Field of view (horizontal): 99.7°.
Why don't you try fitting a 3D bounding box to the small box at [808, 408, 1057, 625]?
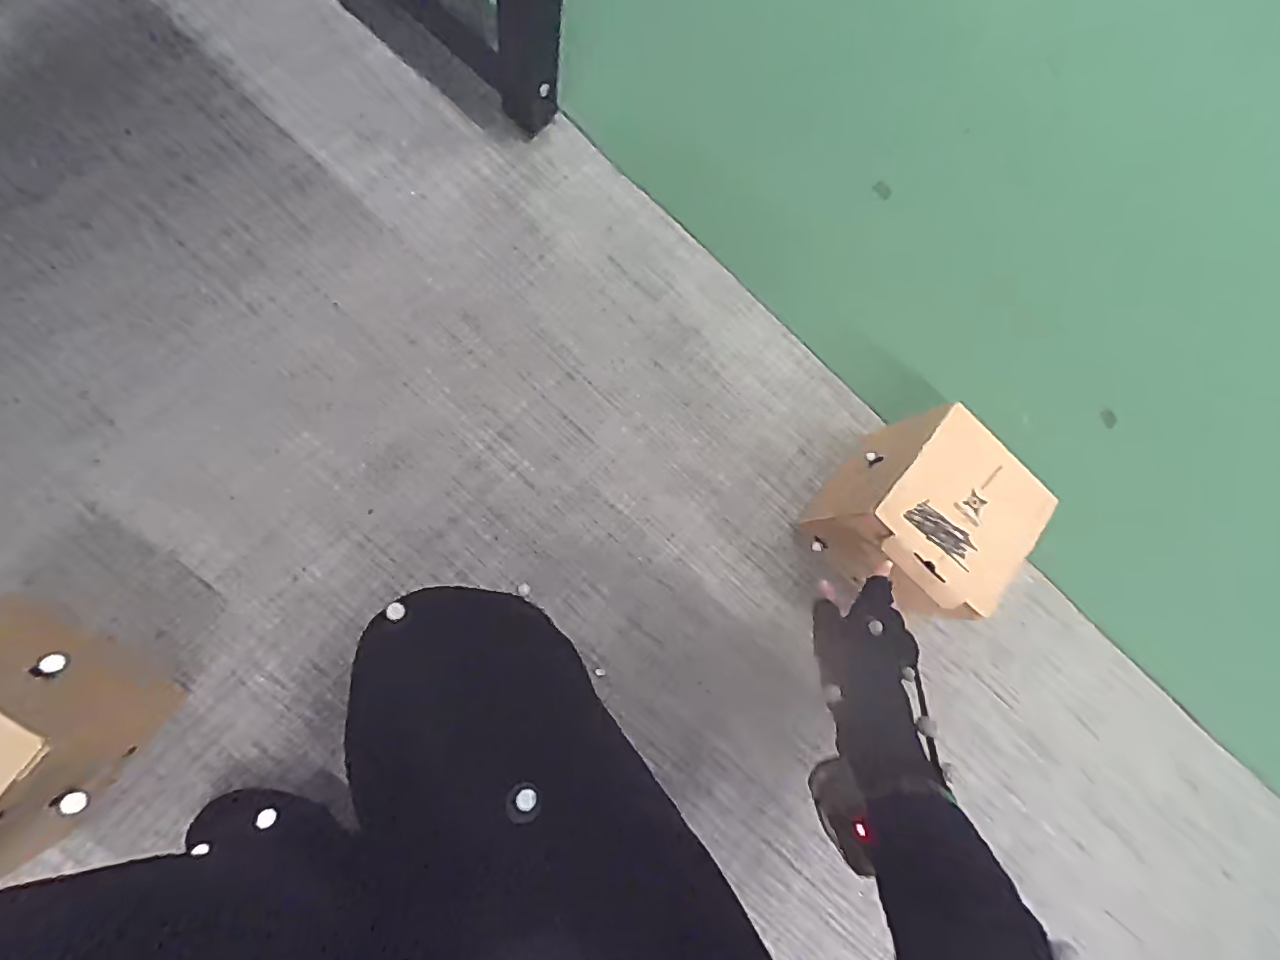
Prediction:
[{"bbox_3d":[0.331,0.049,0.651,0.168,0.176,0.179,44,76,-2],"label":"small box"}]
